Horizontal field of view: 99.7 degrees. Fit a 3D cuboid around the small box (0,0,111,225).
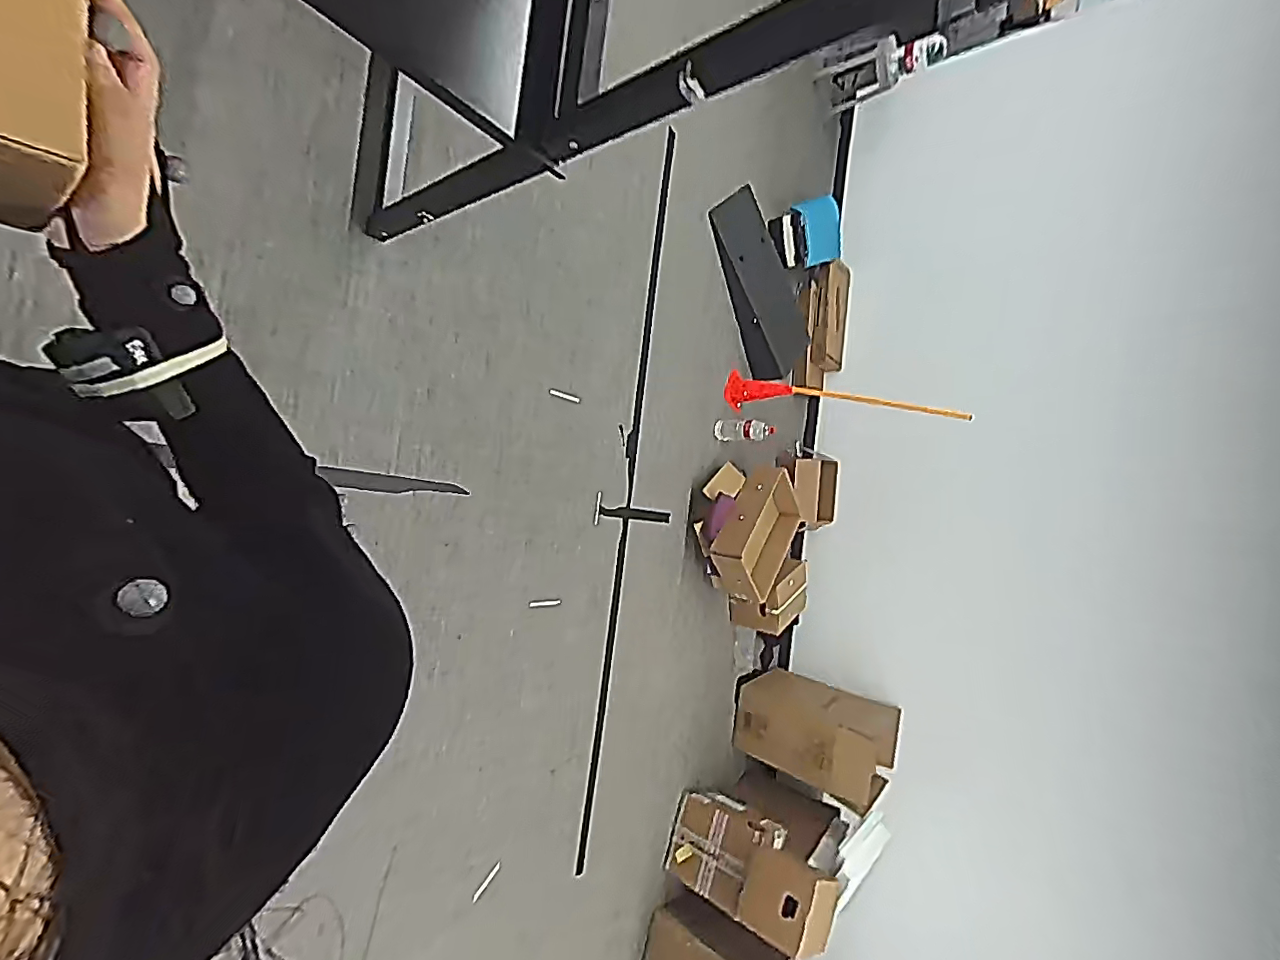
[{"bbox_3d":[-0.343,-0.230,0.218,0.168,0.176,0.179,0,97,-52],"label":"small box"}]
